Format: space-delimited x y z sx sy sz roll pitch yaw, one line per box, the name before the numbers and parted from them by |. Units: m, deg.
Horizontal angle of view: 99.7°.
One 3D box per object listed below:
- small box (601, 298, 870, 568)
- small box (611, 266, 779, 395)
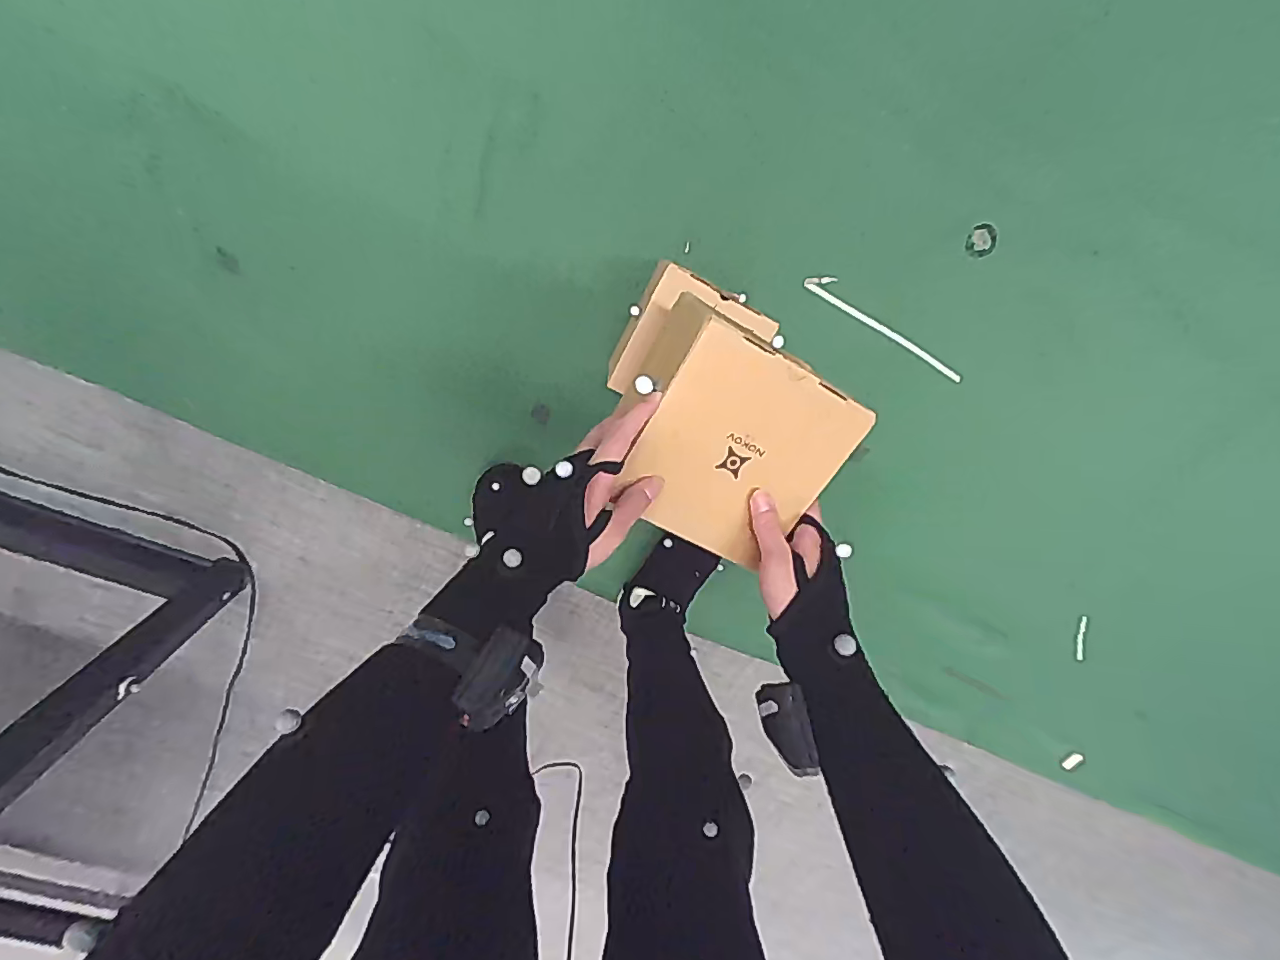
small box | 0.075 -0.054 0.524 0.168 0.176 0.179 27 110 -15
small box | 0.067 -0.191 0.776 0.168 0.176 0.179 25 111 -11
